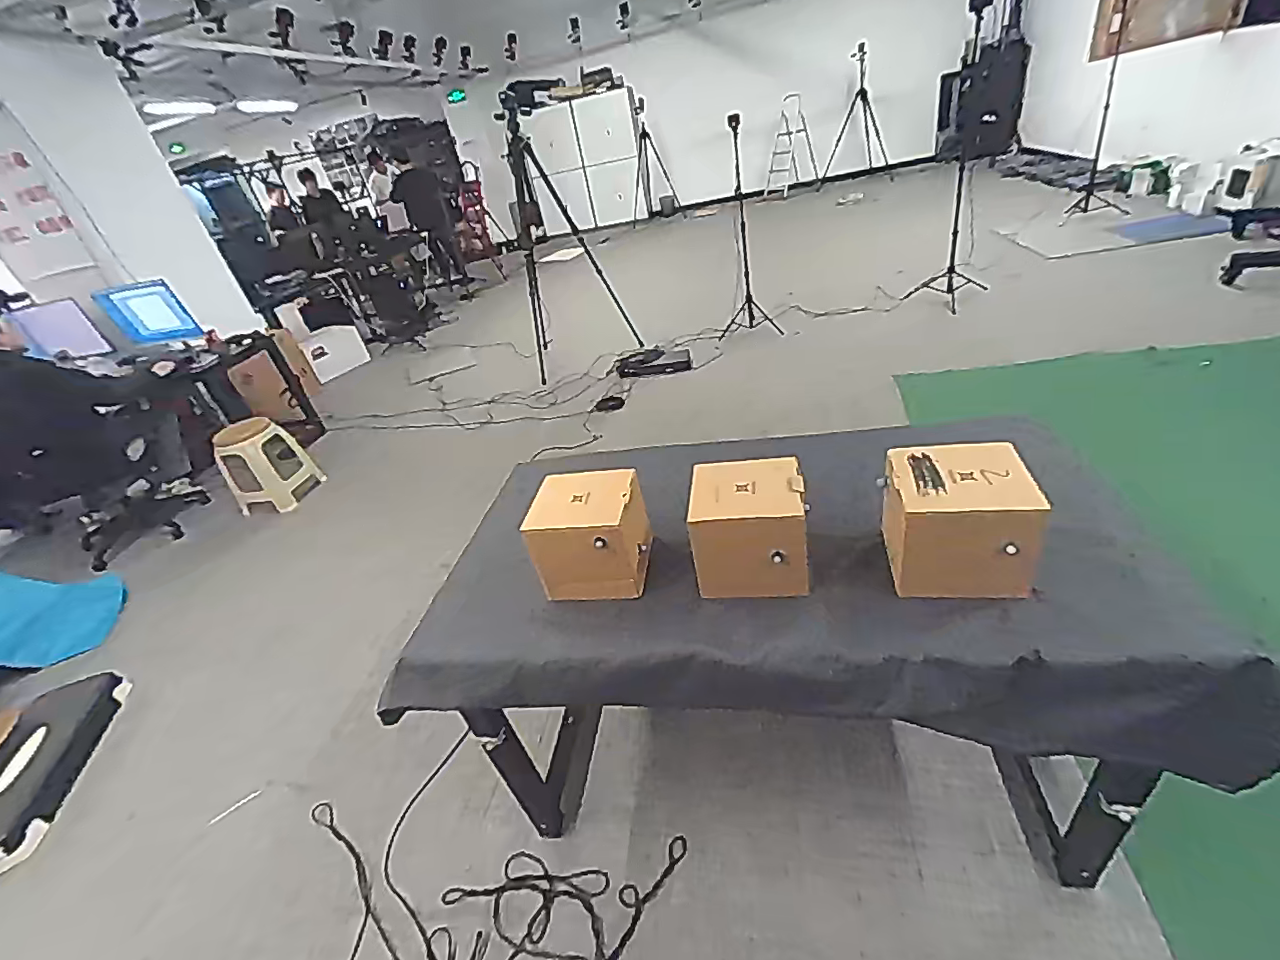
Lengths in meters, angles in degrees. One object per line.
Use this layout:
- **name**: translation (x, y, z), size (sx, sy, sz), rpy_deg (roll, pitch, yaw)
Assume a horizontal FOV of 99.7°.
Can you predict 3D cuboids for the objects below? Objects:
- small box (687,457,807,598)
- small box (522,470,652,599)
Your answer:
- **small box**: translation (0.185, 0.081, 0.908), size (0.179, 0.176, 0.168), rpy_deg (-6, 32, 15)
- **small box**: translation (-0.086, 0.101, 0.981), size (0.179, 0.176, 0.168), rpy_deg (-5, 33, 13)
